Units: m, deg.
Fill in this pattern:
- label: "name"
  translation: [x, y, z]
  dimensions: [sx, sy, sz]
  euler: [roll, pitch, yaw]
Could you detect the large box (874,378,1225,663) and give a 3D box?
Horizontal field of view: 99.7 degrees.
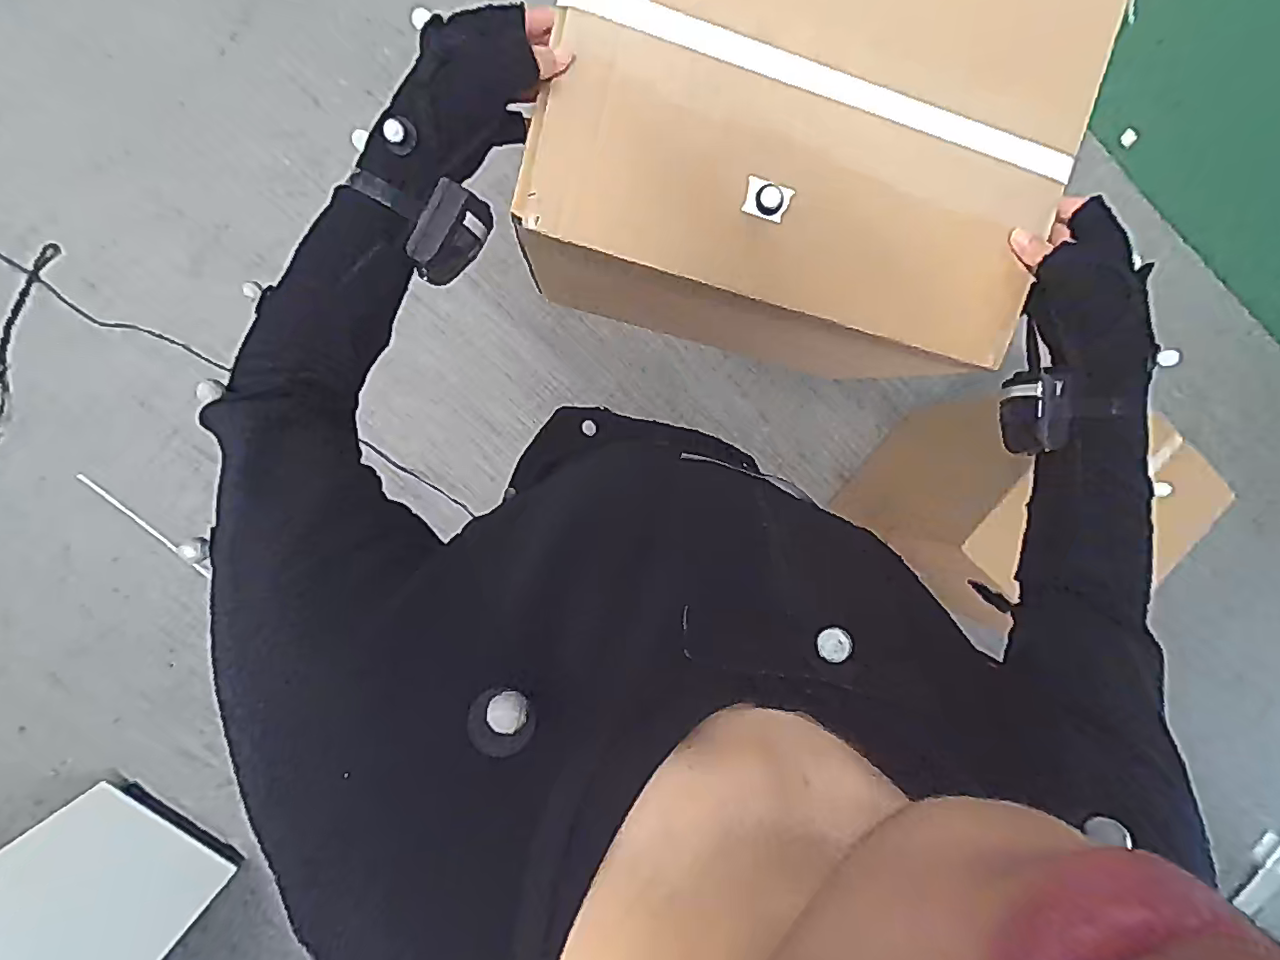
- label: "large box"
  translation: [0.768, 0.063, 1.071]
  dimensions: [0.320, 0.320, 0.408]
  euler: [43, 89, -4]
